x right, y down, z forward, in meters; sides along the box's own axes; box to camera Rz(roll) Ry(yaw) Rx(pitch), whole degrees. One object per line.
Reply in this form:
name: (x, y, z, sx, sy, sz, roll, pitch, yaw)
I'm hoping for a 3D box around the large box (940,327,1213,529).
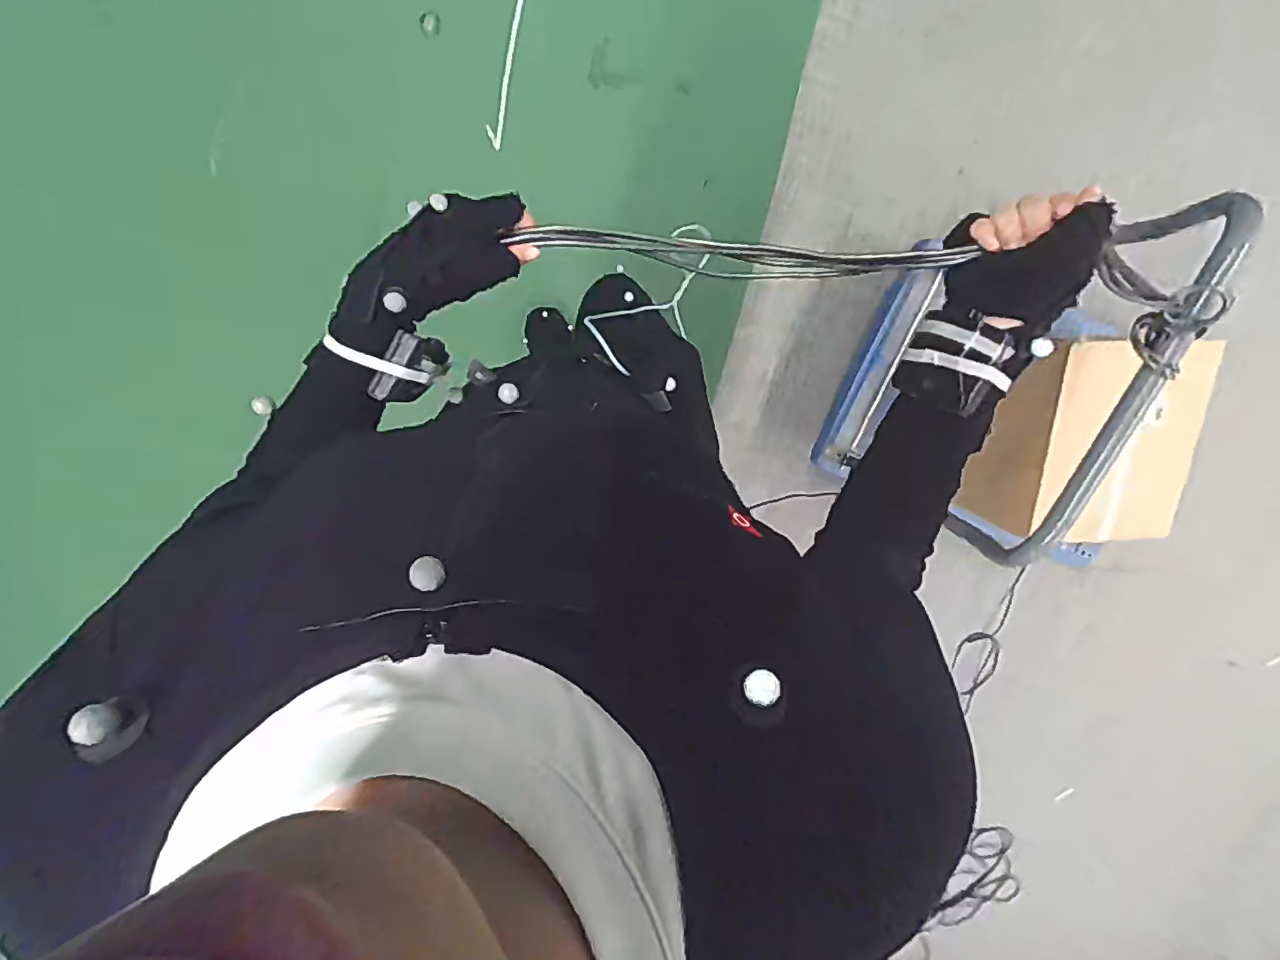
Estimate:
large box: (0.930, -0.132, 1.214, 0.320, 0.320, 0.408, -1, 107, -5)
